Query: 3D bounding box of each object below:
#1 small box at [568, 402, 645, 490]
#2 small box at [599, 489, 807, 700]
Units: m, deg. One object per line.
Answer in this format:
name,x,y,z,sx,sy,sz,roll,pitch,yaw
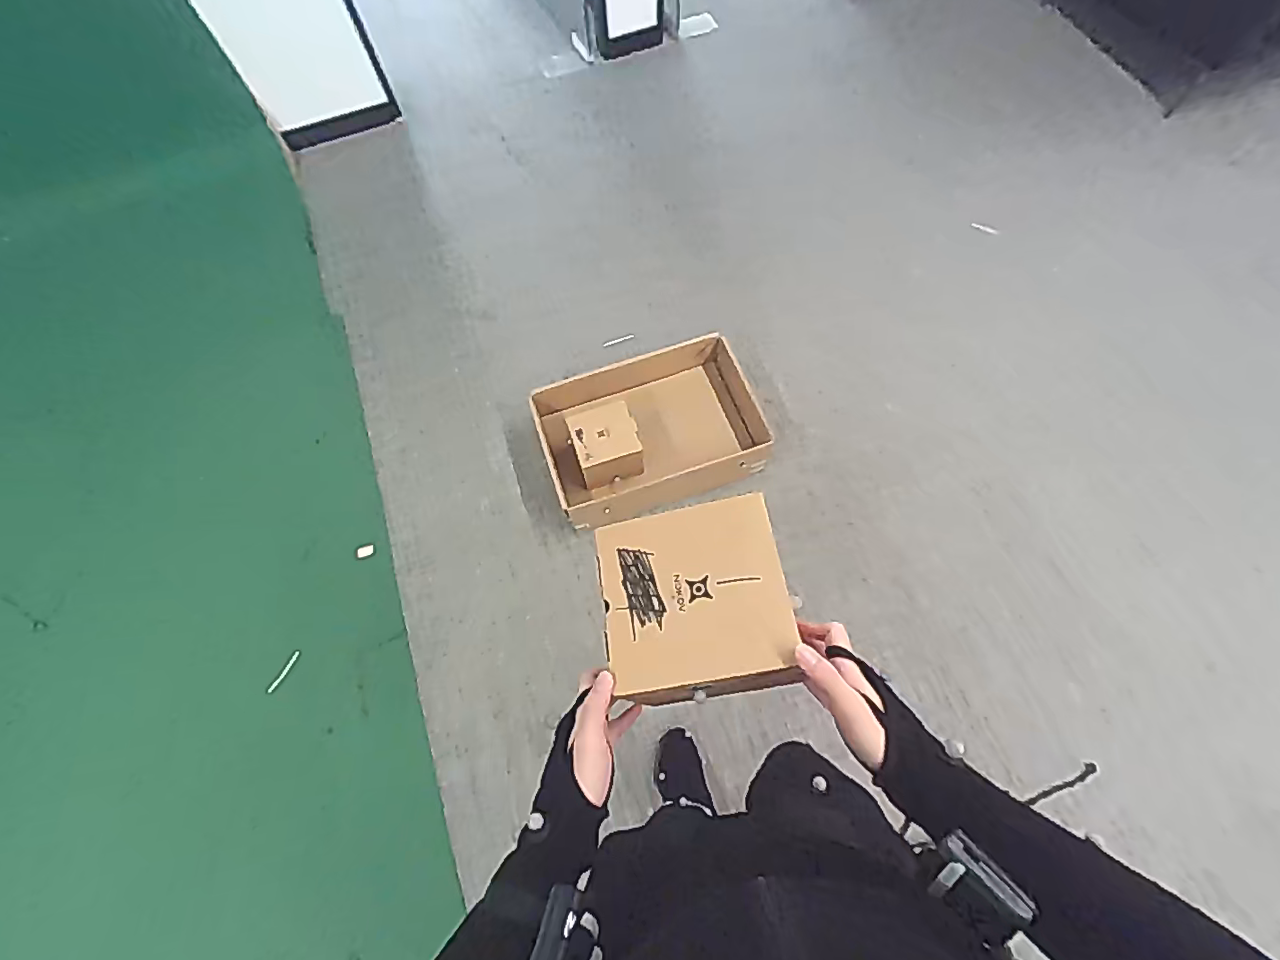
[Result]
small box,-0.094,-0.092,1.550,0.179,0.176,0.168,-17,67,-7
small box,0.069,0.131,0.570,0.179,0.176,0.168,-12,63,9
